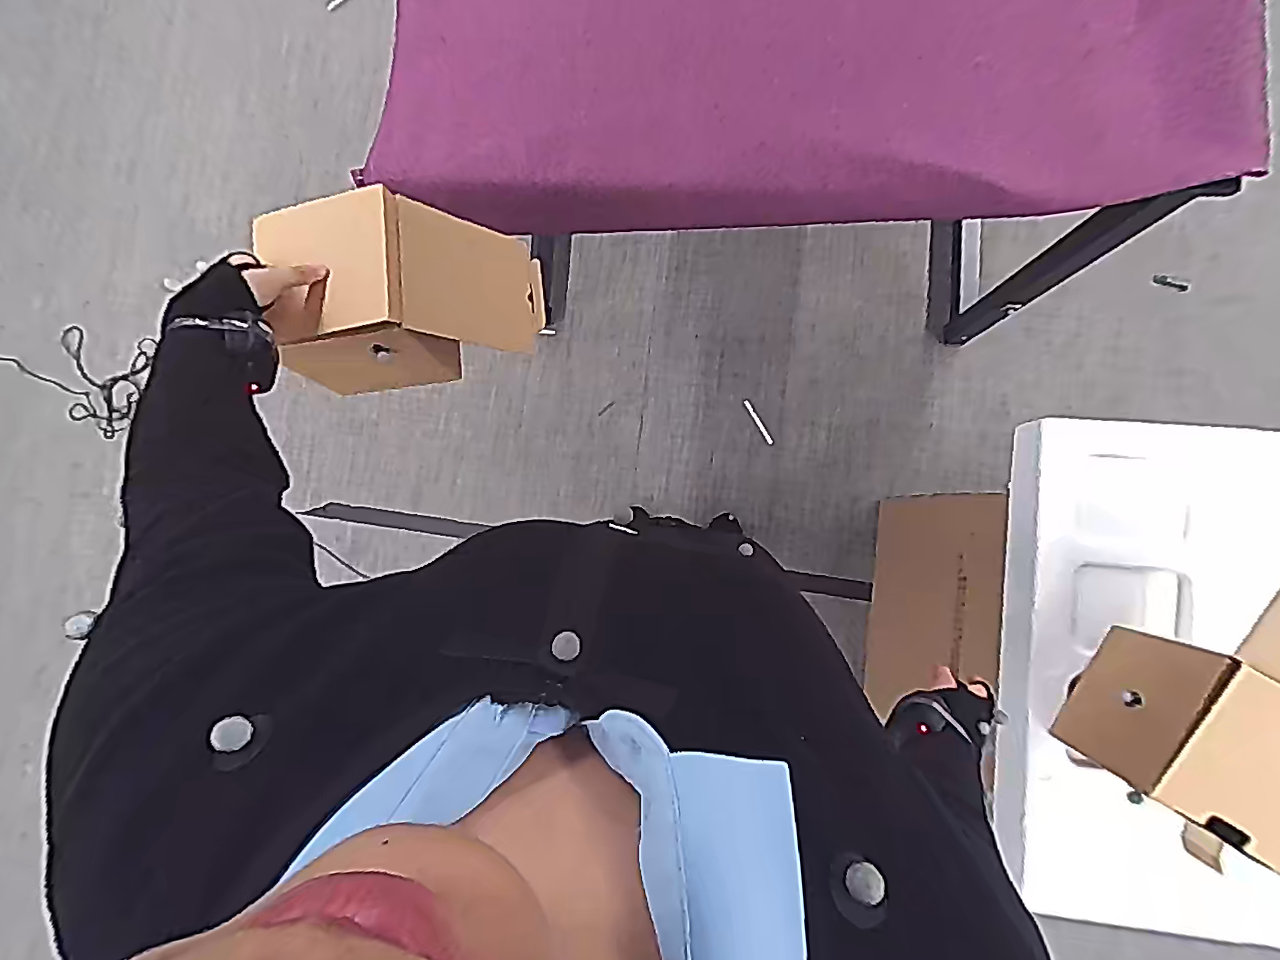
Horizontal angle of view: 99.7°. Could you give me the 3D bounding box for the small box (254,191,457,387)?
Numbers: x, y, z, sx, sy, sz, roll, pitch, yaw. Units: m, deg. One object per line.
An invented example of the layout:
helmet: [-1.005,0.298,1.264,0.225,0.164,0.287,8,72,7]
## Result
small box: [-0.343,-0.228,0.684,0.179,0.176,0.168,-7,80,4]
